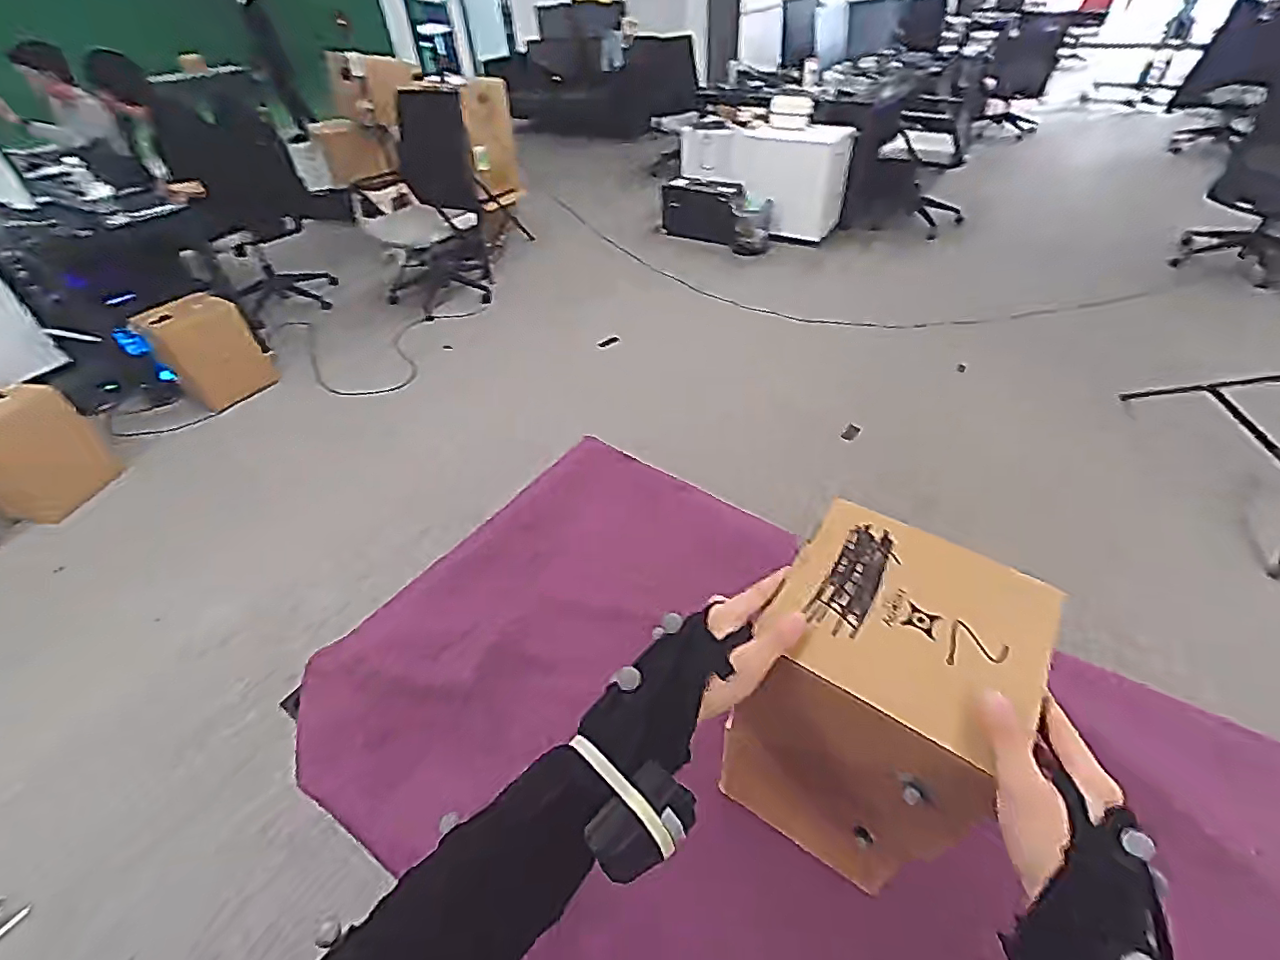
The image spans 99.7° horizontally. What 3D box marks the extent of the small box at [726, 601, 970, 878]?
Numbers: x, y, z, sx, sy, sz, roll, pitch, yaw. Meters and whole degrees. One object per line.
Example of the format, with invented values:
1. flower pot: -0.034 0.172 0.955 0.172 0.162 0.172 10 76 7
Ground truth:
1. small box: 0.201 0.267 0.560 0.179 0.176 0.168 24 50 26
